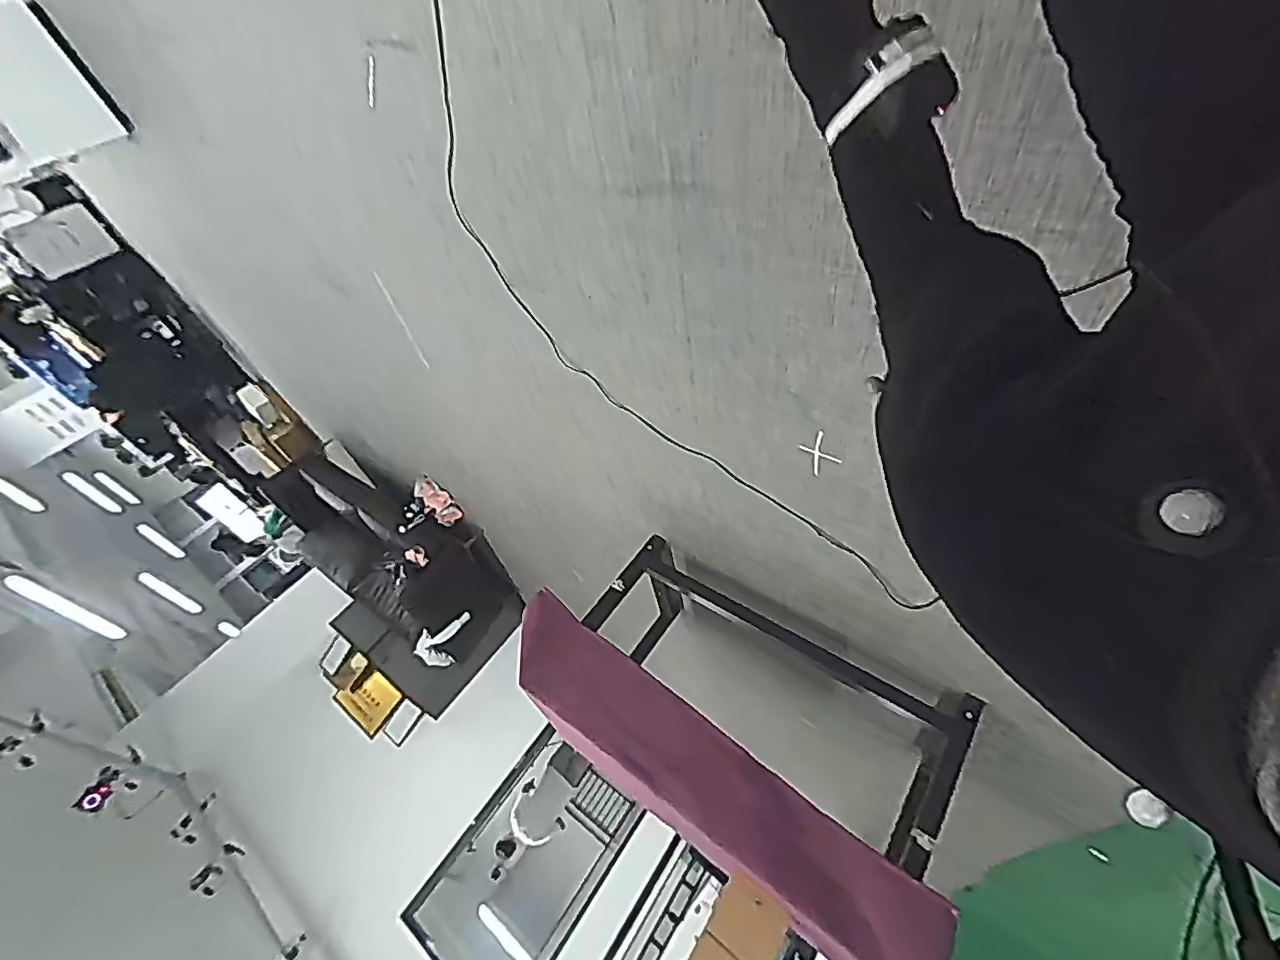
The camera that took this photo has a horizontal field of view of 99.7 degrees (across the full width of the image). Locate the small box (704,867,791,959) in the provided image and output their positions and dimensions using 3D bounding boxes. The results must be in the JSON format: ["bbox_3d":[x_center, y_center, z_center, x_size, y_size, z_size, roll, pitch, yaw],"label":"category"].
[{"bbox_3d":[0.303,1.223,1.514,0.179,0.176,0.168,24,148,32],"label":"small box"}]

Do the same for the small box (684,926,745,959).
[{"bbox_3d":[0.204,1.331,1.438,0.179,0.176,0.168,23,147,31],"label":"small box"}]
